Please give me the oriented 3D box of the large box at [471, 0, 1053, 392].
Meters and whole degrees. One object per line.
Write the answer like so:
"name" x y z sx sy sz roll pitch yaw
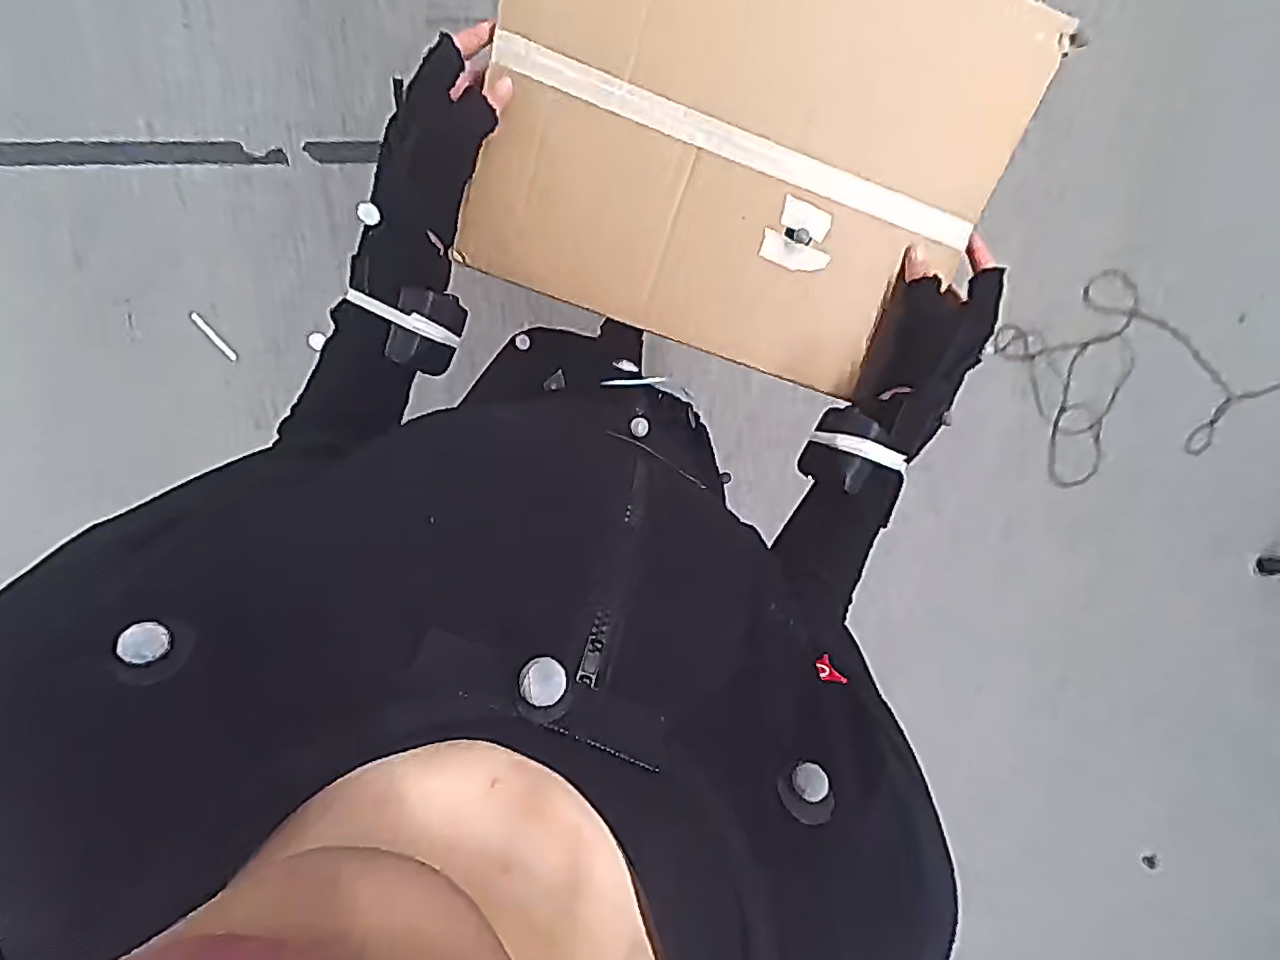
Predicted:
"large box" 0.081 -0.328 0.579 0.408 0.320 0.320 18 111 -9
